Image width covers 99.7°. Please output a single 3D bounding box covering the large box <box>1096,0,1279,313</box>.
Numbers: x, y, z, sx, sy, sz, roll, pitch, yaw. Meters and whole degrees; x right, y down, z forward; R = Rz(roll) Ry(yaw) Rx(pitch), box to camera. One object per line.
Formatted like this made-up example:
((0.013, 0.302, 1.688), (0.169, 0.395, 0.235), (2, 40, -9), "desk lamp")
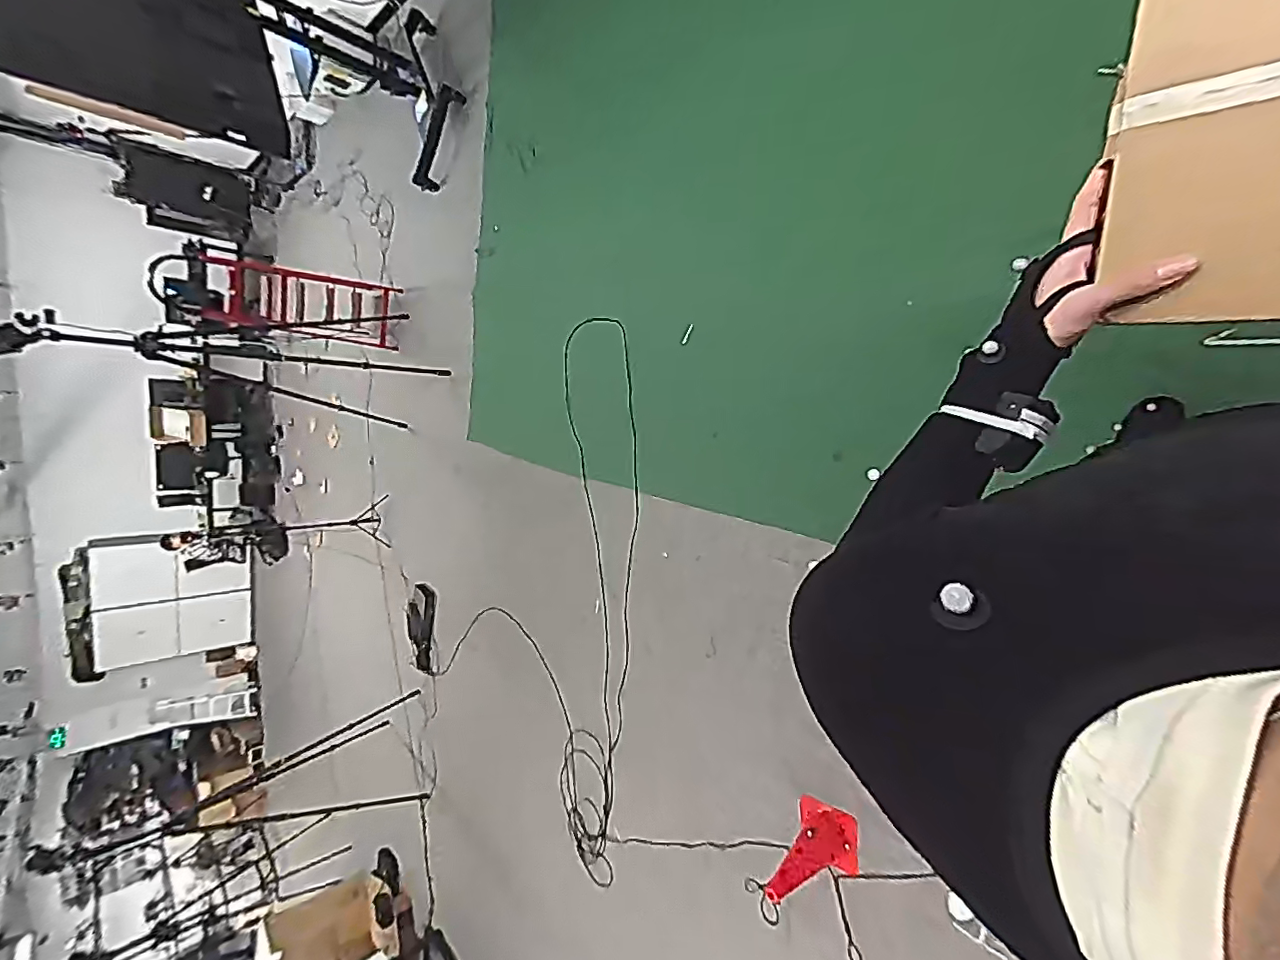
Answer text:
((0.621, -0.300, 0.388), (0.408, 0.320, 0.320), (12, 113, 43), "large box")
